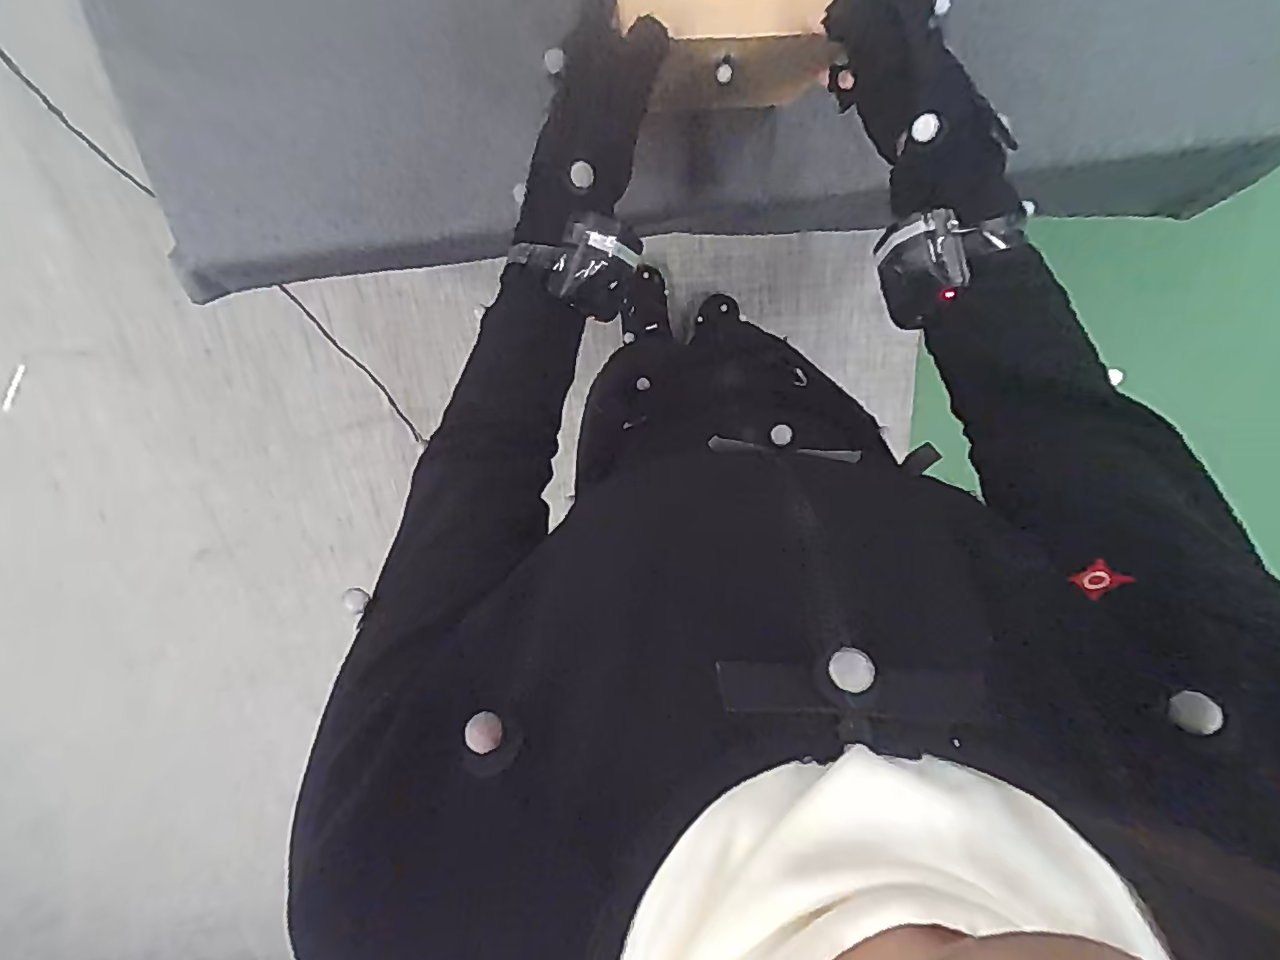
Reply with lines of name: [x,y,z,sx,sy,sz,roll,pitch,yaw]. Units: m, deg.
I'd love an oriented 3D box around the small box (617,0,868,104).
small box: [0.068,-0.427,0.438,0.179,0.176,0.168,-6,110,-2]
